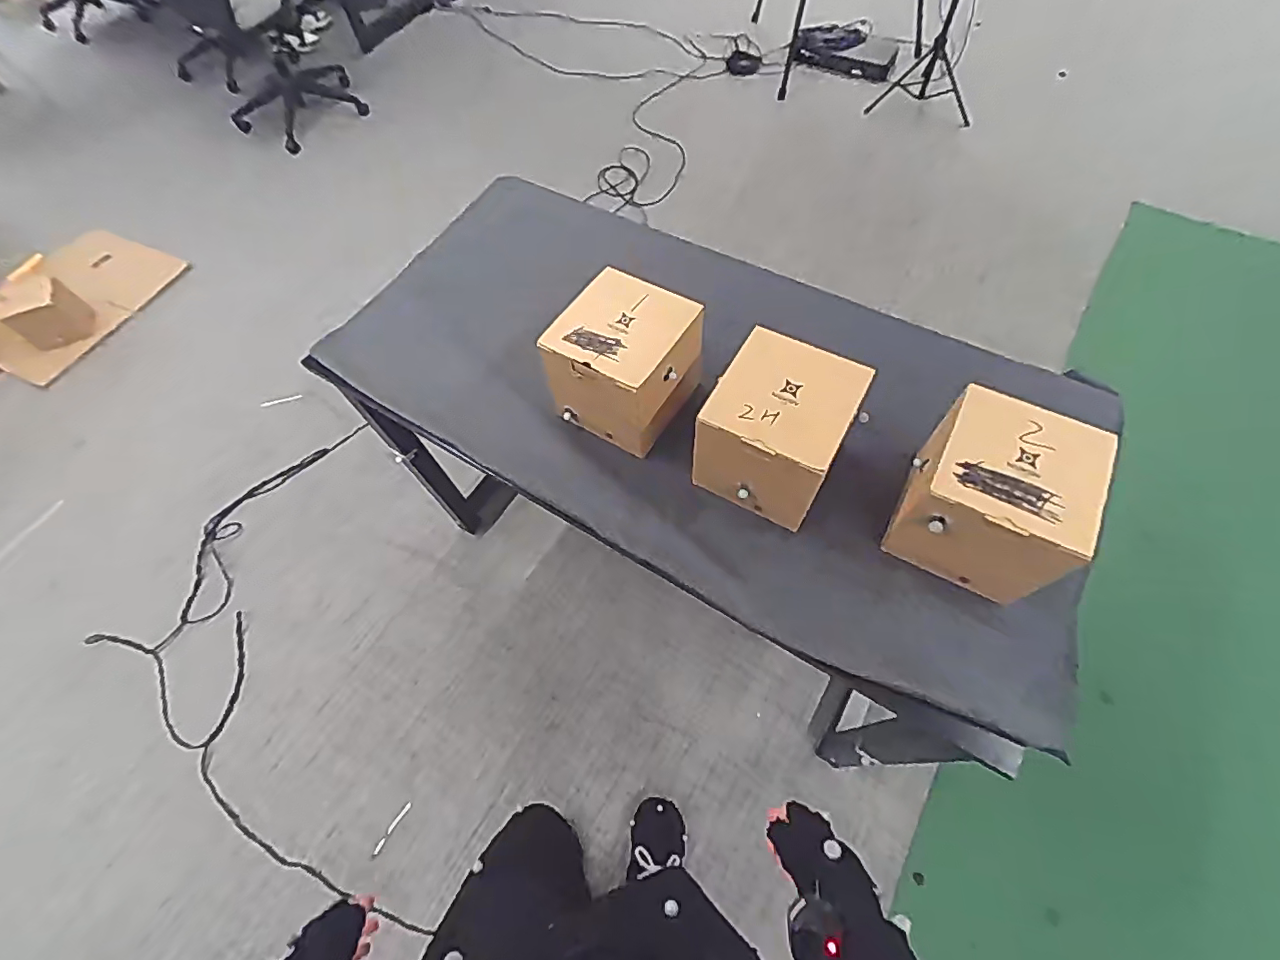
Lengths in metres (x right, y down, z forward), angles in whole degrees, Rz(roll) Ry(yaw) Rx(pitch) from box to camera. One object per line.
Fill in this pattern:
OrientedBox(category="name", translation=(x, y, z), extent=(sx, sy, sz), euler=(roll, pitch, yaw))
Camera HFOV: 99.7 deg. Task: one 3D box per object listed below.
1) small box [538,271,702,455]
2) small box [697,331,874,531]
OrientedBox(category="small box", translation=(-0.022, -0.167, 0.807), extent=(0.168, 0.176, 0.179), euler=(28, 65, 16))
OrientedBox(category="small box", translation=(0.186, -0.062, 0.737), extent=(0.168, 0.176, 0.179), euler=(26, 66, 17))
